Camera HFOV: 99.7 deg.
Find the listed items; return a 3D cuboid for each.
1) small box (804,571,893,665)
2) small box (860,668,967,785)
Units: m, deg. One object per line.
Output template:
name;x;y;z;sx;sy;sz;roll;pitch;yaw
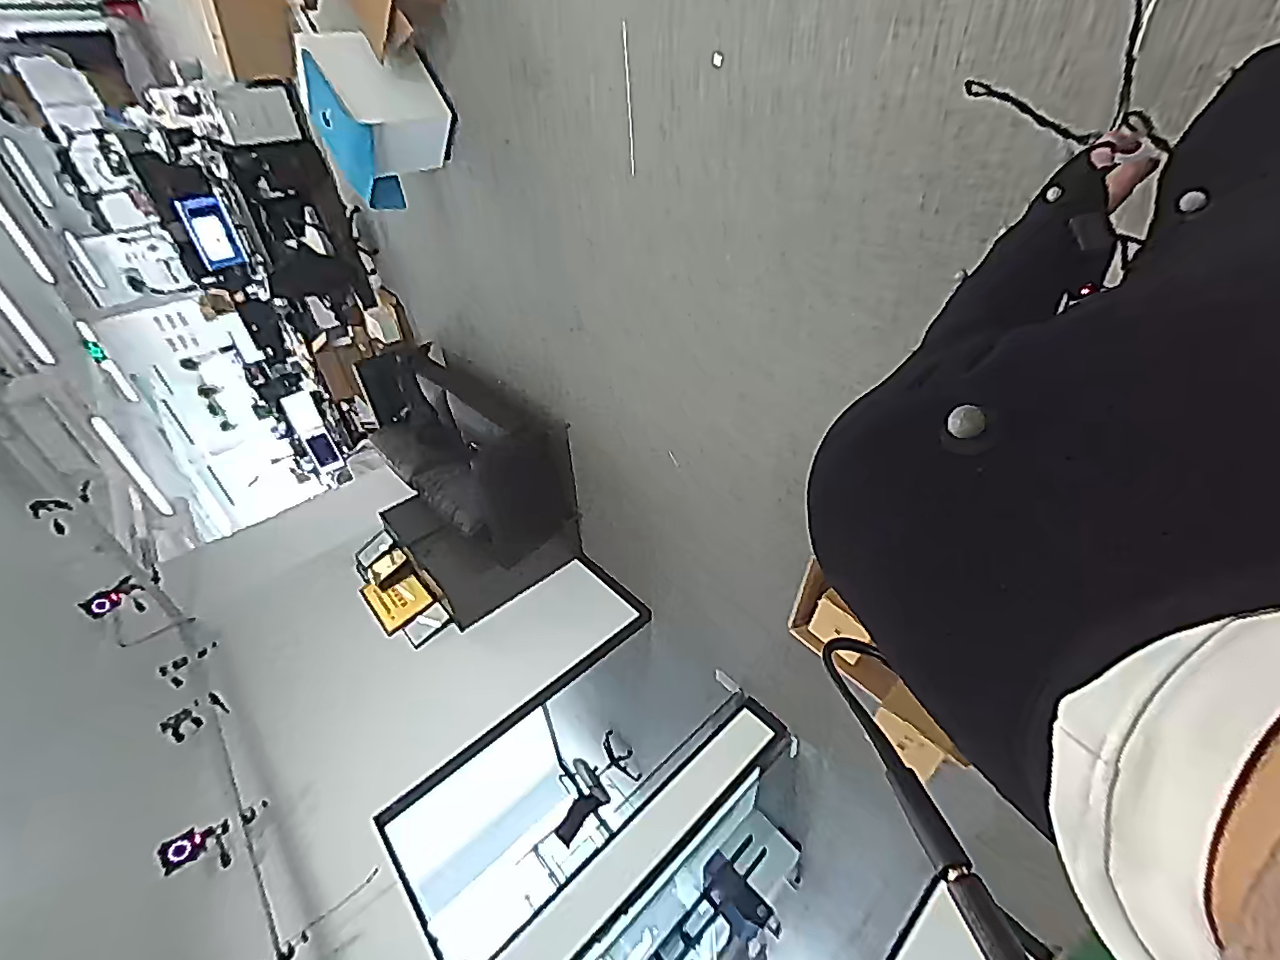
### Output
small box;0.628;0.412;1.627;0.168;0.176;0.179;38;142;32
small box;0.697;0.624;1.379;0.168;0.176;0.179;34;141;35
